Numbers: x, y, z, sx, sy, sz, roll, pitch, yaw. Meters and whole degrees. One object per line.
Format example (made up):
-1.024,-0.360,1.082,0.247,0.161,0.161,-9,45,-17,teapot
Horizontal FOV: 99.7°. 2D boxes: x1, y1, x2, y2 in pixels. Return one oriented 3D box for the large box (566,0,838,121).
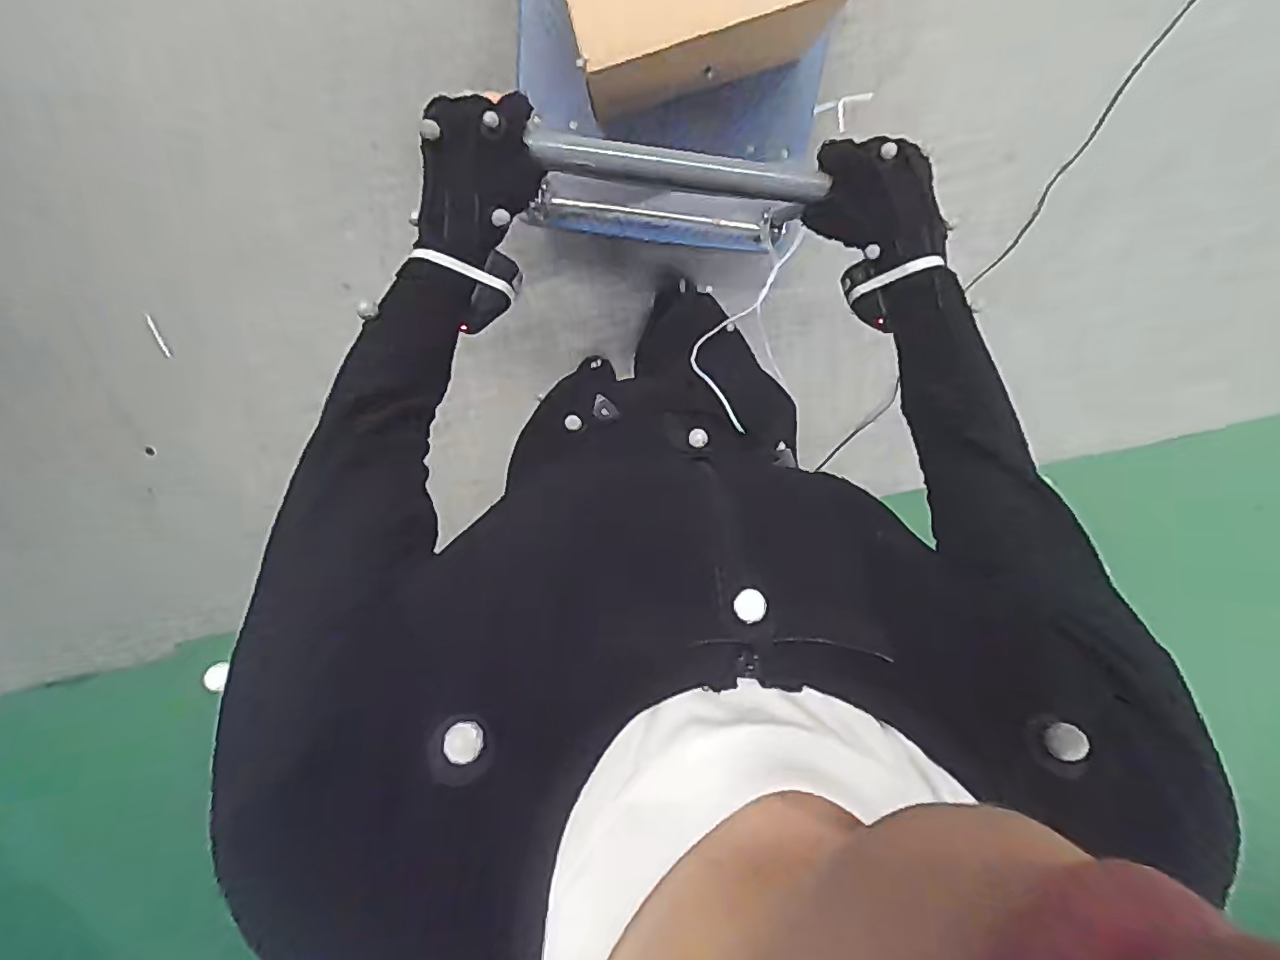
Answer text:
0.074,-0.837,0.857,0.408,0.320,0.320,-15,110,6,large box
